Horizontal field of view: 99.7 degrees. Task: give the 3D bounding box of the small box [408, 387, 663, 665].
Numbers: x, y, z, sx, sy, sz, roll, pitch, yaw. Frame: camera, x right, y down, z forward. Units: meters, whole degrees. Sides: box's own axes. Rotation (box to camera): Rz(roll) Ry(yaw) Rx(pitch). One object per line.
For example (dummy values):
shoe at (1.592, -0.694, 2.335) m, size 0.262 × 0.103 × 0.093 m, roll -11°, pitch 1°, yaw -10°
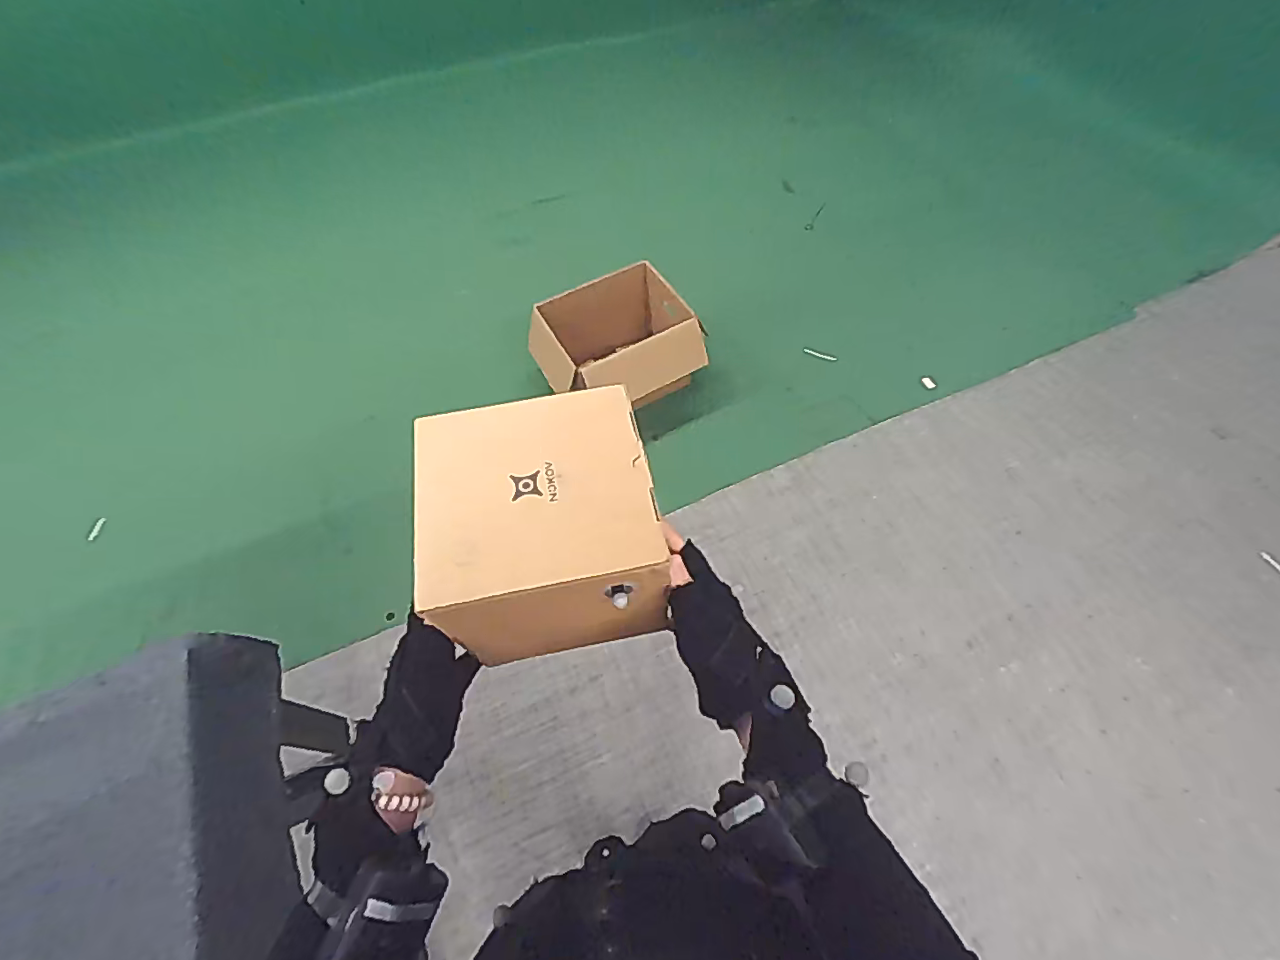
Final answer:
small box at (-0.080, 0.047, 0.470) m, size 0.179 × 0.176 × 0.168 m, roll -11°, pitch 59°, yaw -5°
